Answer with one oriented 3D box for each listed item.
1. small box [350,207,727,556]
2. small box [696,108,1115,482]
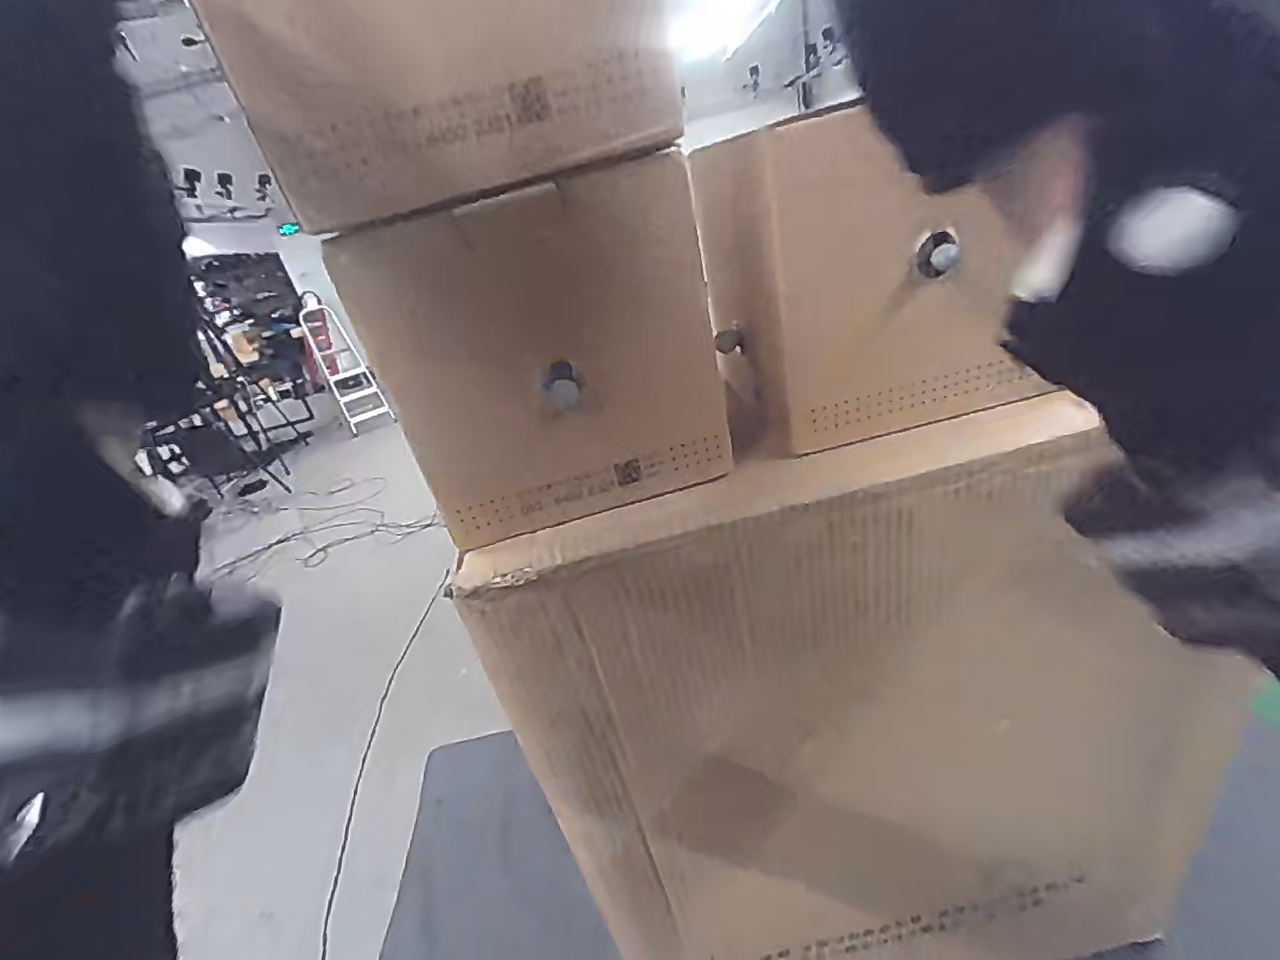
[{"bbox_3d":[-0.054,-0.068,0.362,0.168,0.176,0.179,-18,28,-4],"label":"small box"},{"bbox_3d":[0.147,-0.120,0.359,0.179,0.176,0.168,-14,28,0],"label":"small box"}]
